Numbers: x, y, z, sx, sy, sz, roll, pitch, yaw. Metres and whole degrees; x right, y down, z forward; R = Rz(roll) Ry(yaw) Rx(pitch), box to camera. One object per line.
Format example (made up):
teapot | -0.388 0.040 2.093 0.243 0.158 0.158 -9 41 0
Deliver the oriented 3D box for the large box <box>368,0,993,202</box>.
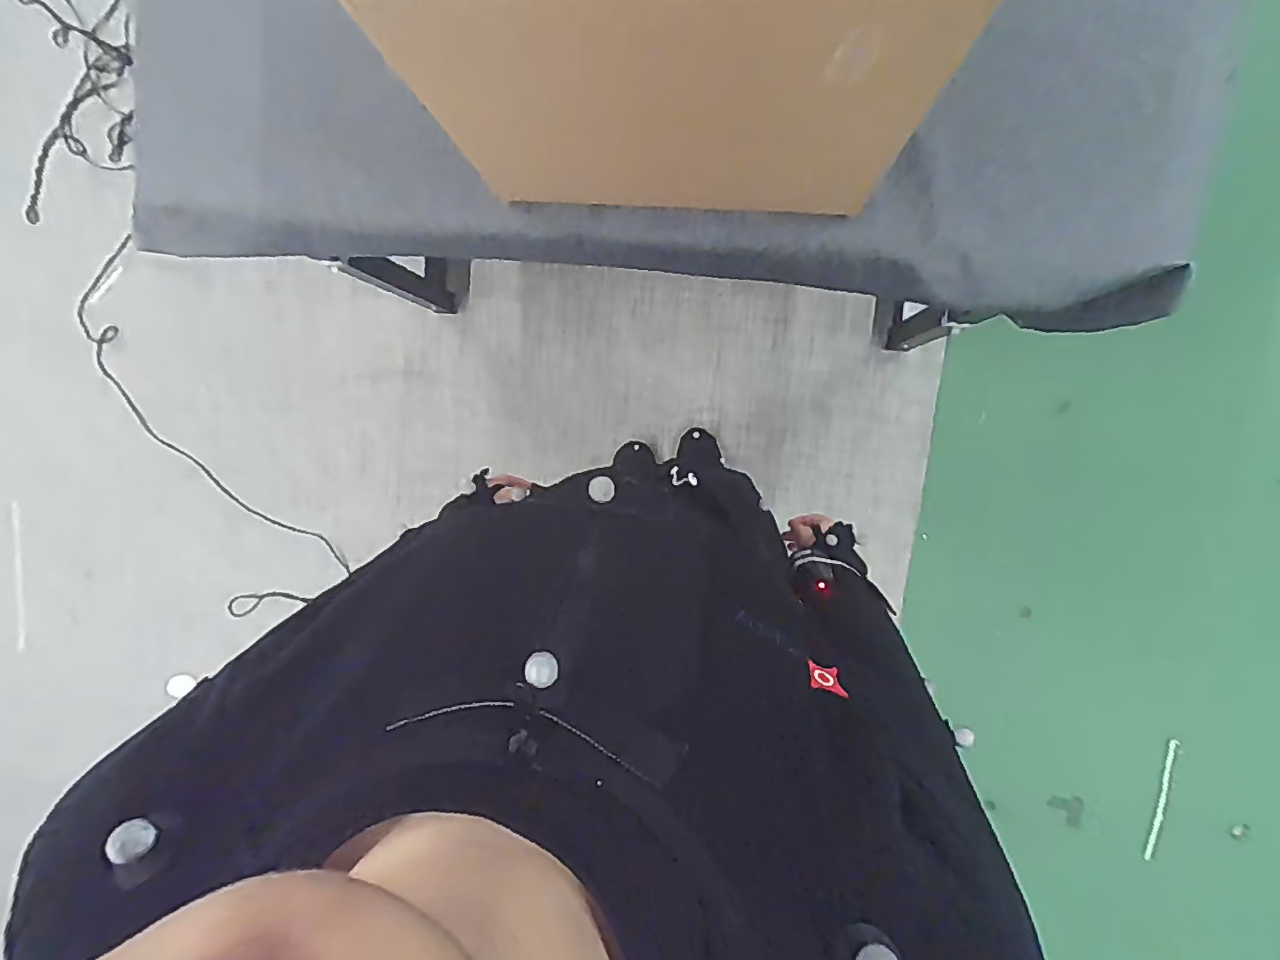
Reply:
large box | 0.035 -0.455 0.450 0.408 0.320 0.320 4 95 5
